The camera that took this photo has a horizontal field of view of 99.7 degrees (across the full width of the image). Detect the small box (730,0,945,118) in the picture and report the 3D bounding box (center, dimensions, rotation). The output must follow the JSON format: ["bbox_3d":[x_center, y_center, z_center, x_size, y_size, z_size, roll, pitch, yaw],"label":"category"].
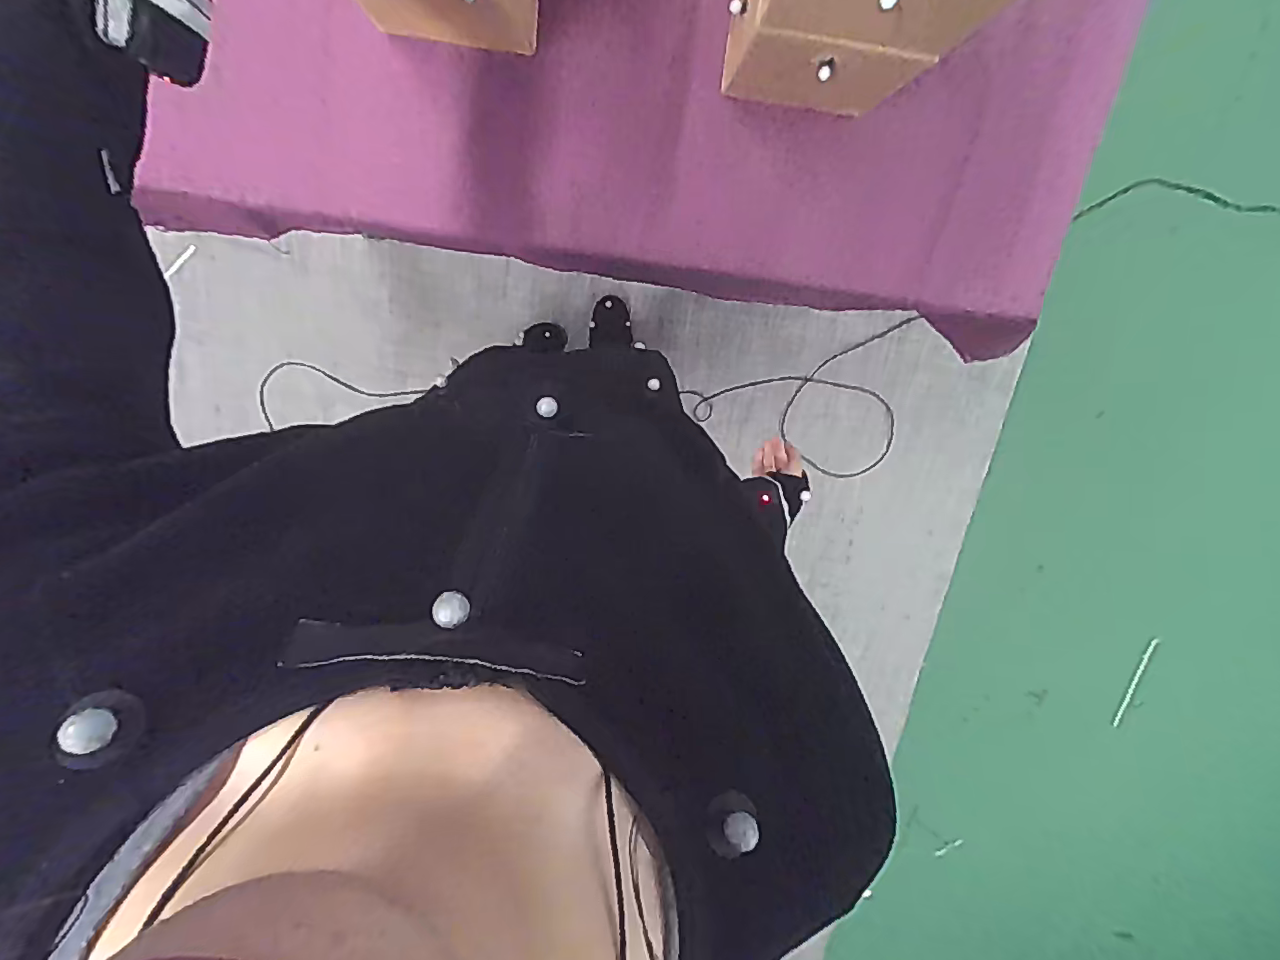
[{"bbox_3d":[0.200,-0.495,0.547,0.179,0.176,0.168,6,108,-5],"label":"small box"}]

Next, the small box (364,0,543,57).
[{"bbox_3d":[-0.188,-0.542,0.514,0.179,0.176,0.168,4,107,-5],"label":"small box"}]

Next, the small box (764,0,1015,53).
[{"bbox_3d":[0.207,-0.447,0.391,0.179,0.176,0.168,6,108,-4],"label":"small box"}]
